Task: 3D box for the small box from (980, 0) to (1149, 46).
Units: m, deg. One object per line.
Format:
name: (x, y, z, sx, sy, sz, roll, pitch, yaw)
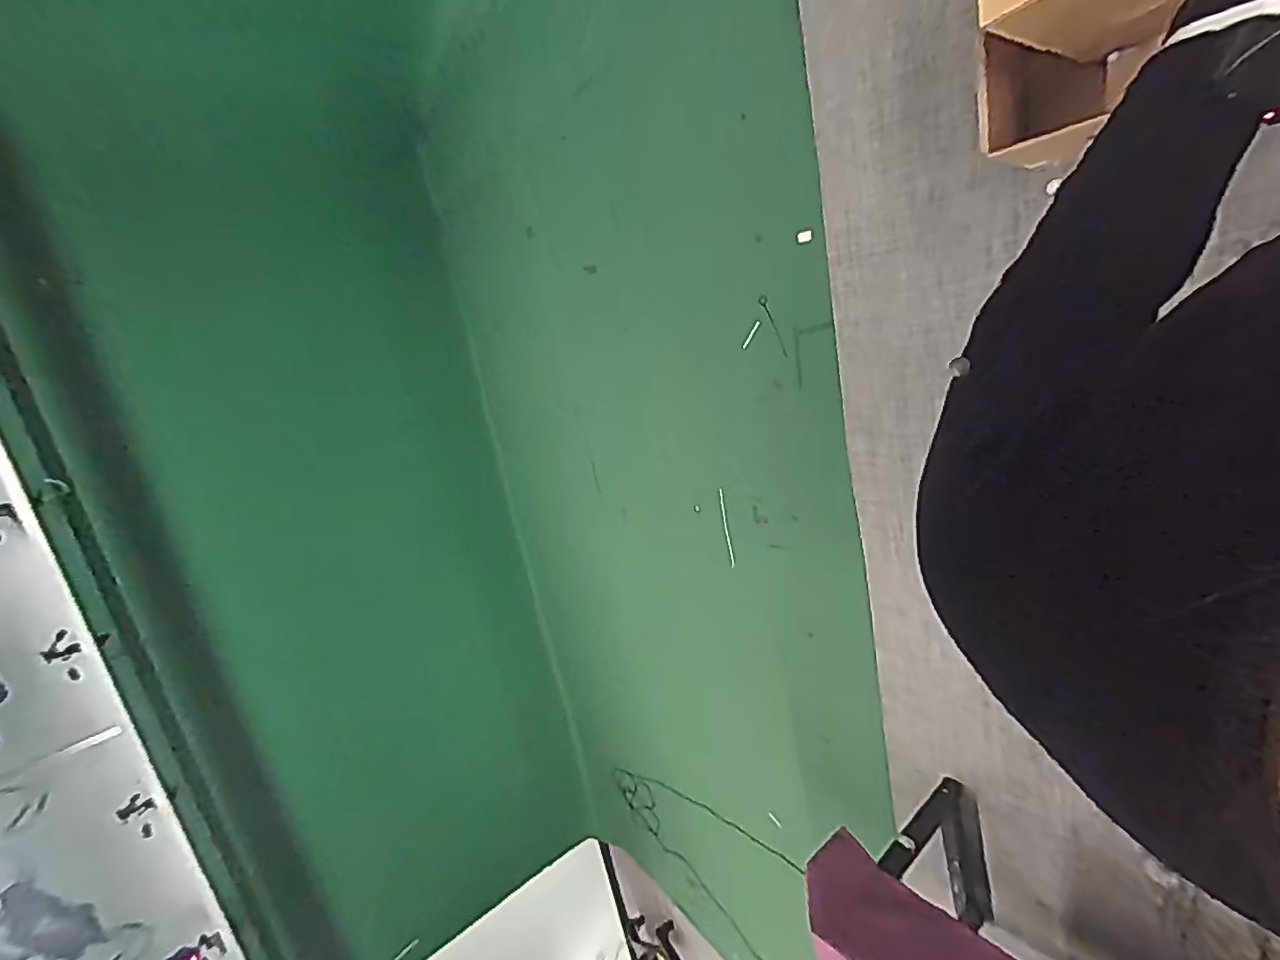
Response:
small box: (0.462, -0.571, 0.530, 0.179, 0.176, 0.168, 6, 112, 54)
